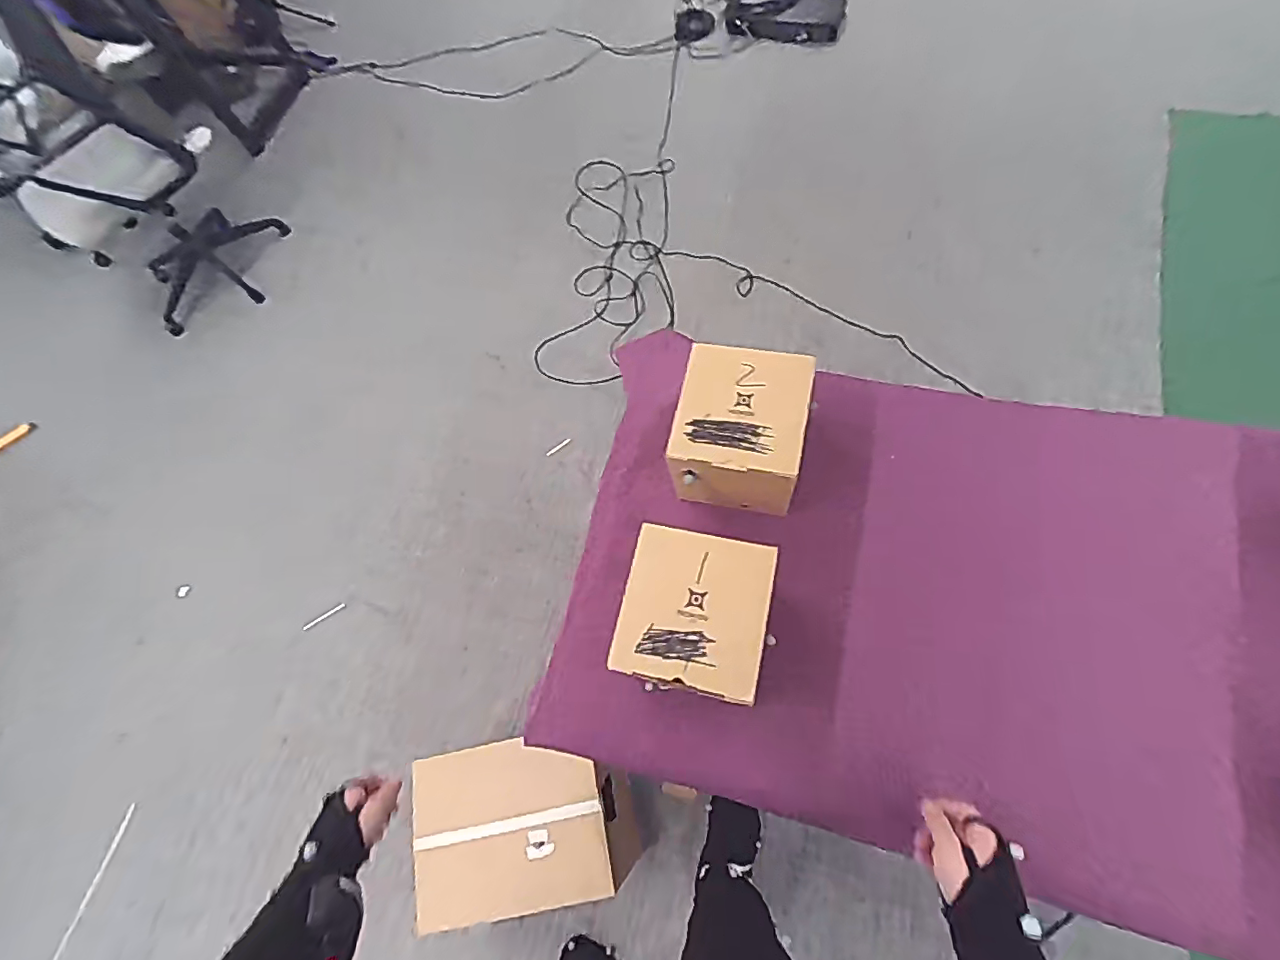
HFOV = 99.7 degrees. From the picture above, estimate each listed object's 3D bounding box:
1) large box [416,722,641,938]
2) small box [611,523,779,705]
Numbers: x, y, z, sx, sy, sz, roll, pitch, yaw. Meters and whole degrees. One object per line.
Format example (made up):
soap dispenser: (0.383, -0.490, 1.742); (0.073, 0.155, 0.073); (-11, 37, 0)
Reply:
large box: (-0.240, 0.758, 1.227); (0.408, 0.320, 0.320); (-14, 66, 3)
small box: (0.077, 0.176, 0.687); (0.168, 0.176, 0.179); (10, 68, 14)
